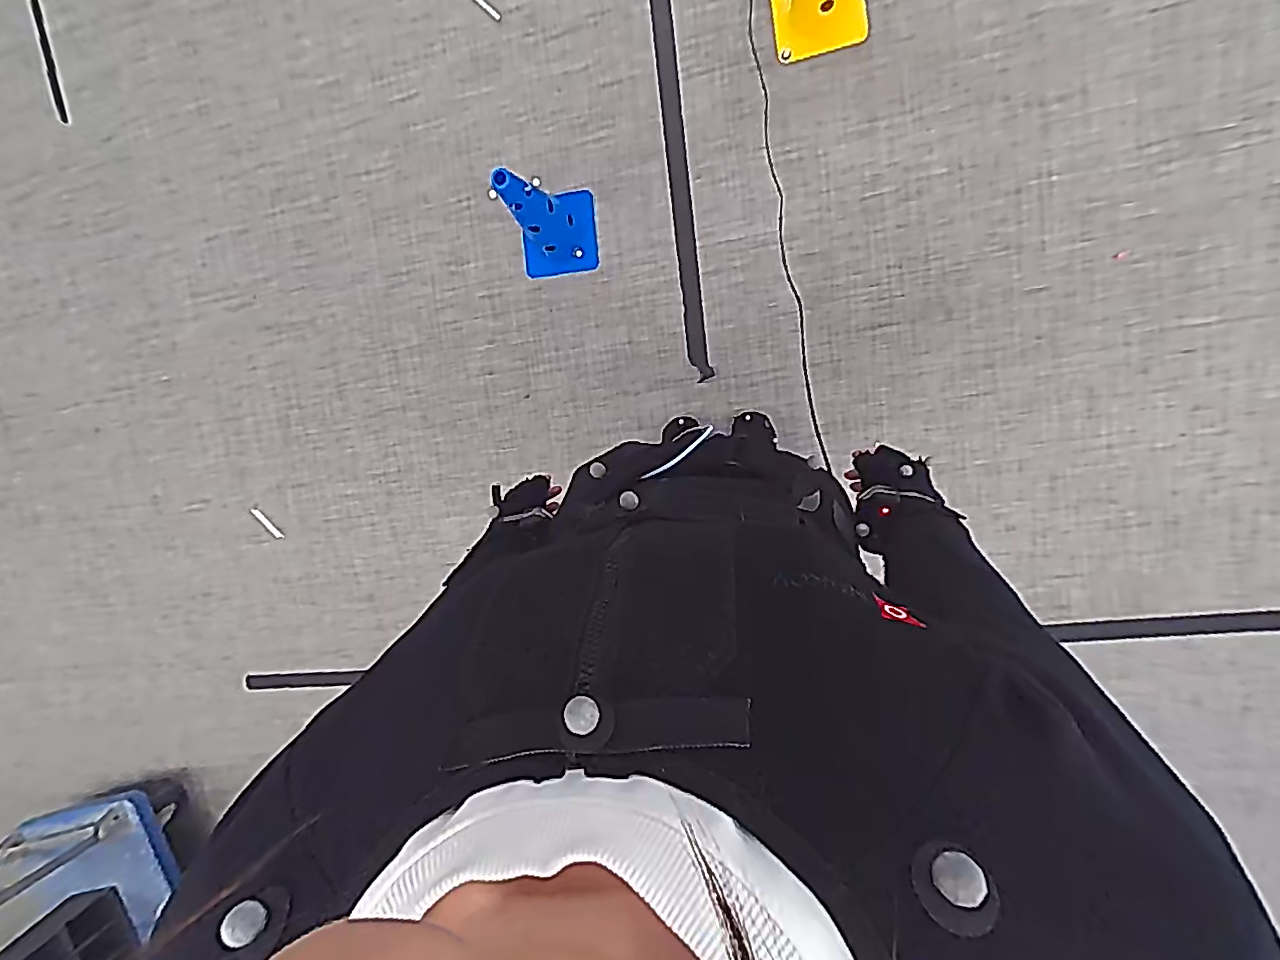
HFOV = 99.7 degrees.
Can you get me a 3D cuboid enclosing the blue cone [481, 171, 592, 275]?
[{"bbox_3d":[-0.252,-0.619,1.247,0.192,0.380,0.193,-2,97,12],"label":"blue cone"}]
